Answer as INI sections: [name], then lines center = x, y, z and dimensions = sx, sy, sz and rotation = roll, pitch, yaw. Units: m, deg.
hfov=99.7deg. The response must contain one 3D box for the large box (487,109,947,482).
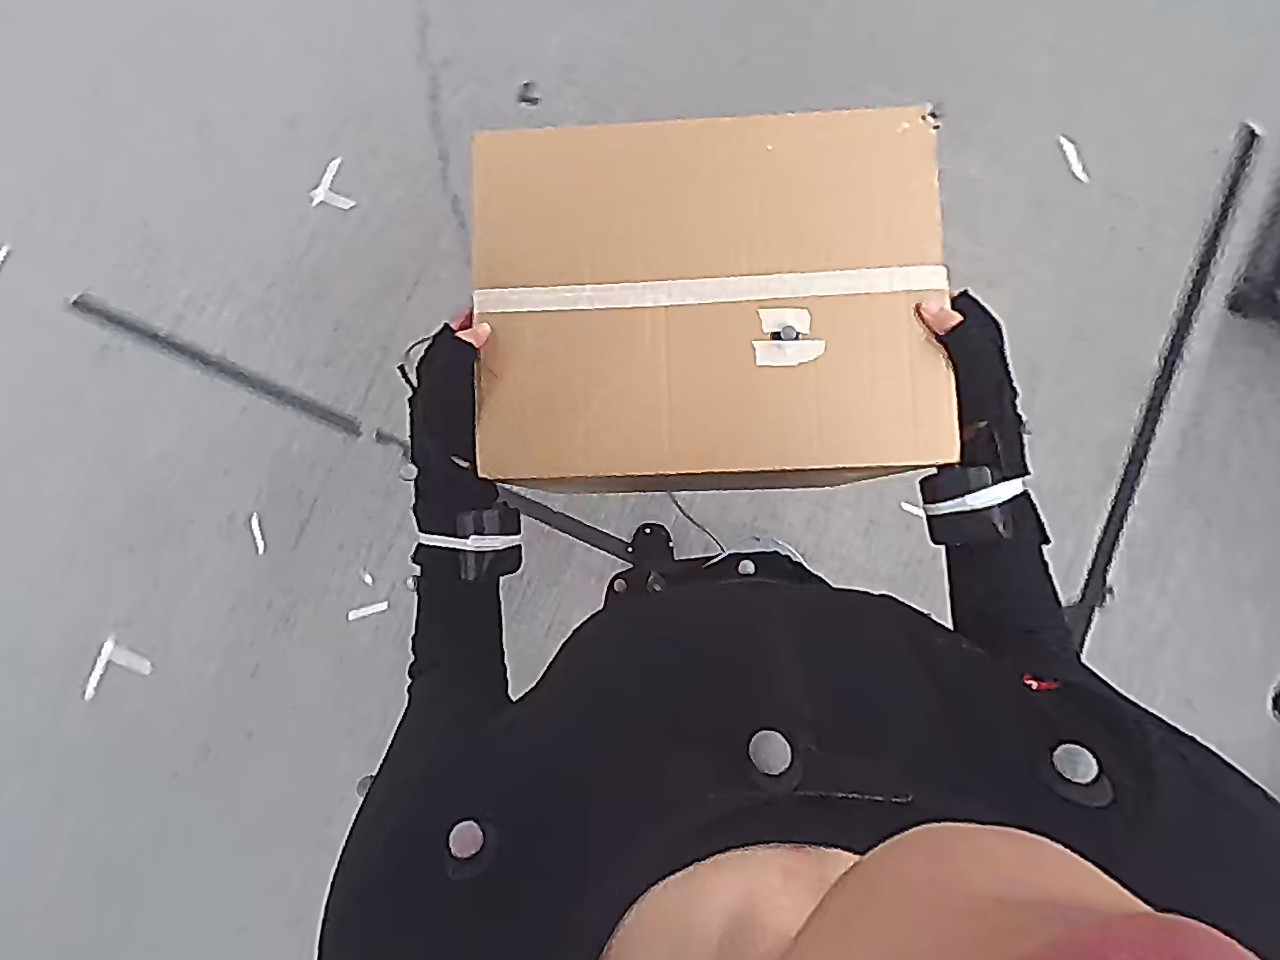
[large box]
center = 0.065, -0.164, 0.625
dimensions = 0.408, 0.320, 0.320
rotation = -1, 88, 2
